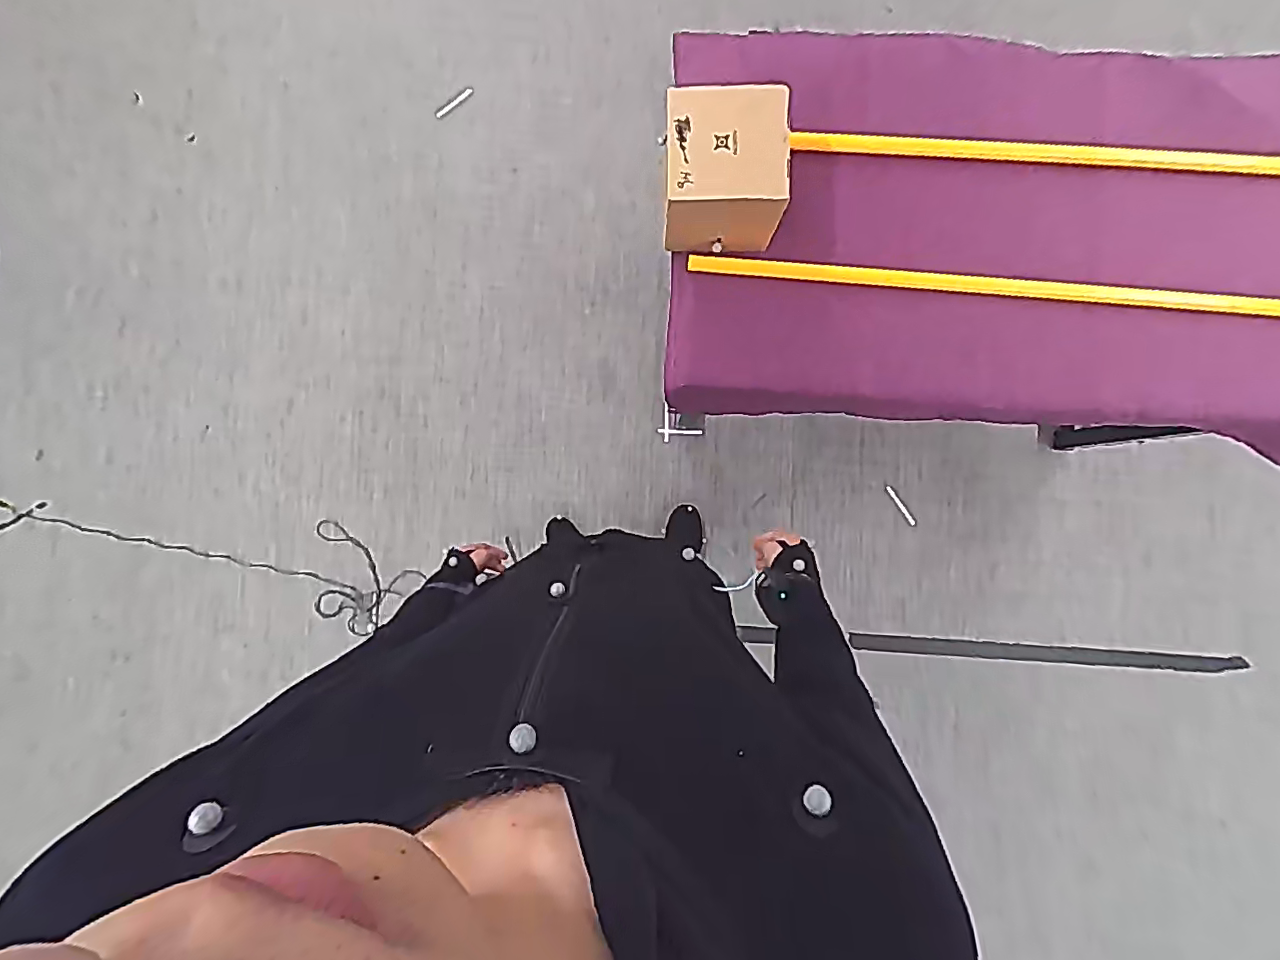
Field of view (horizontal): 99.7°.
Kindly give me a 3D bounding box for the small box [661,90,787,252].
[{"bbox_3d":[0.125,-0.479,0.862,0.179,0.176,0.168,1,89,1],"label":"small box"}]
